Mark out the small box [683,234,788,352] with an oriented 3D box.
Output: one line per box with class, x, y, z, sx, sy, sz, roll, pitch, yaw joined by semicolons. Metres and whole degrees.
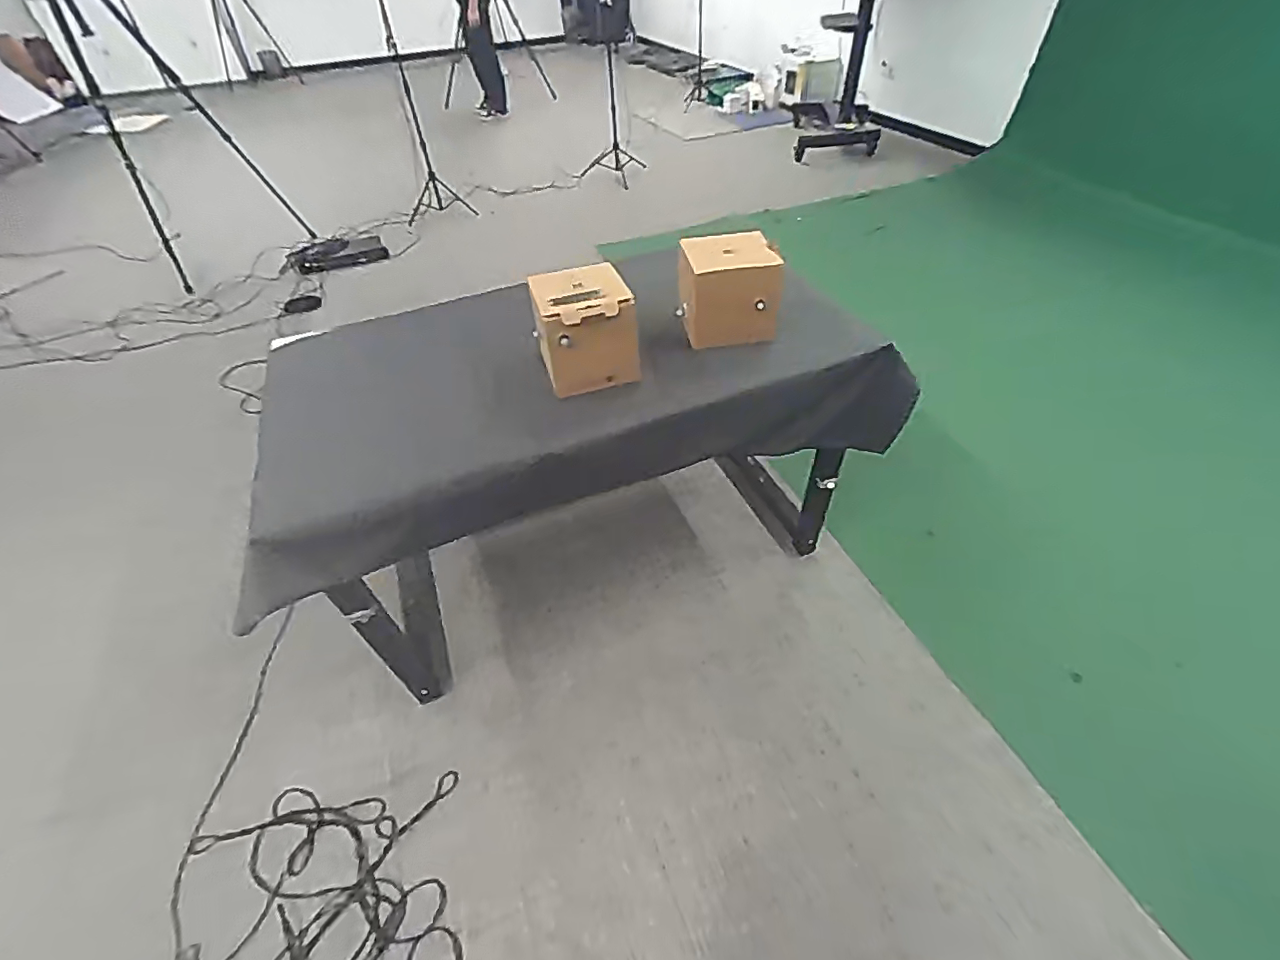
small box;0.188;-0.387;1.124;0.179;0.176;0.168;-9;45;-3
